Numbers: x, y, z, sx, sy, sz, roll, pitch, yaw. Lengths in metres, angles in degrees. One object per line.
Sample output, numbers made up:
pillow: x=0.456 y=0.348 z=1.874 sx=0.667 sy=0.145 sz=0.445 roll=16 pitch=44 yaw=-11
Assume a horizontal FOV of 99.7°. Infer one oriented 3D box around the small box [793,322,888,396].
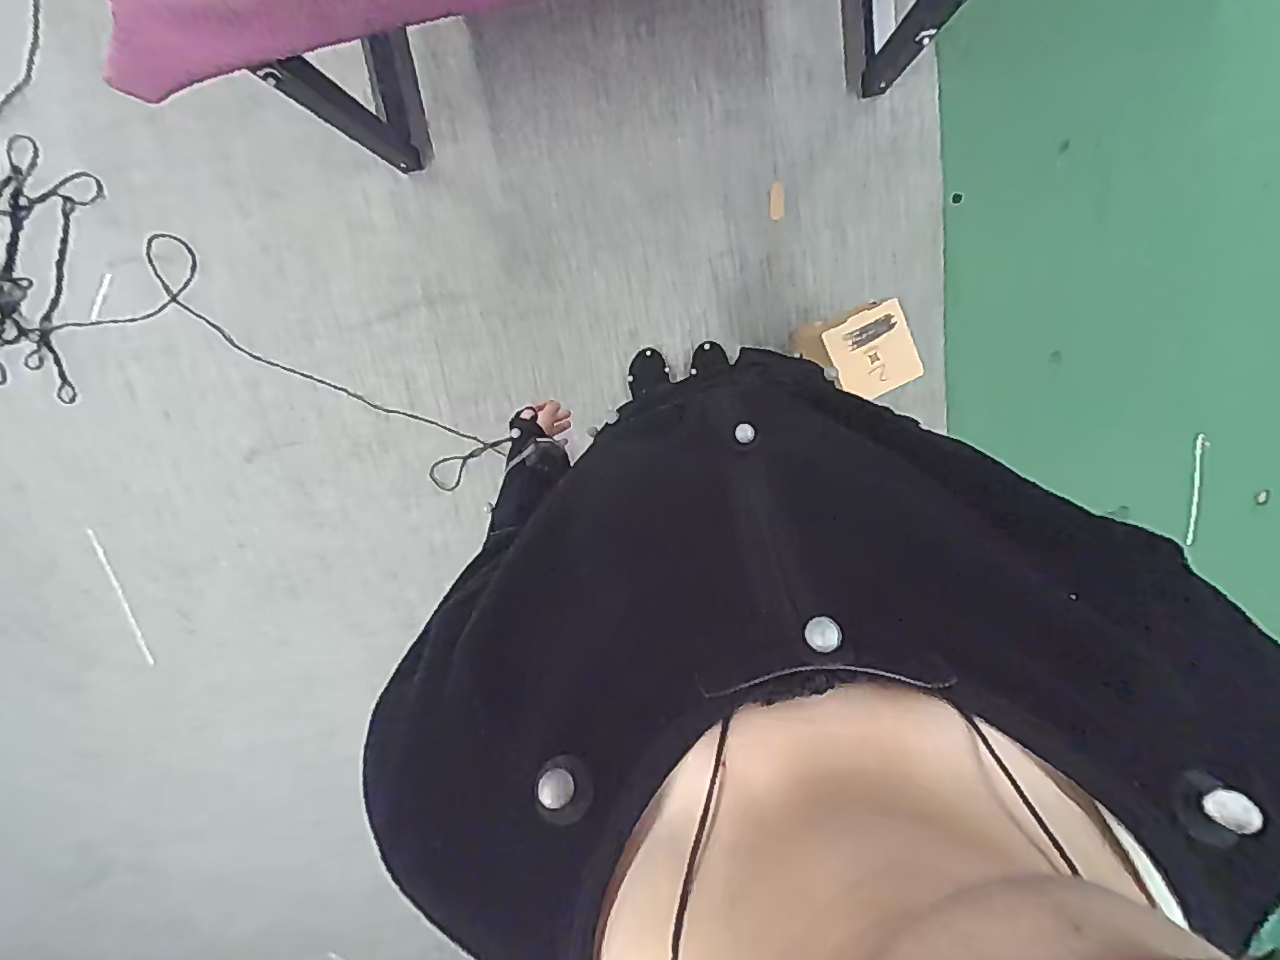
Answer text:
small box: x=0.491 y=-0.302 z=1.352 sx=0.179 sy=0.176 sz=0.168 roll=2 pitch=104 yaw=2
